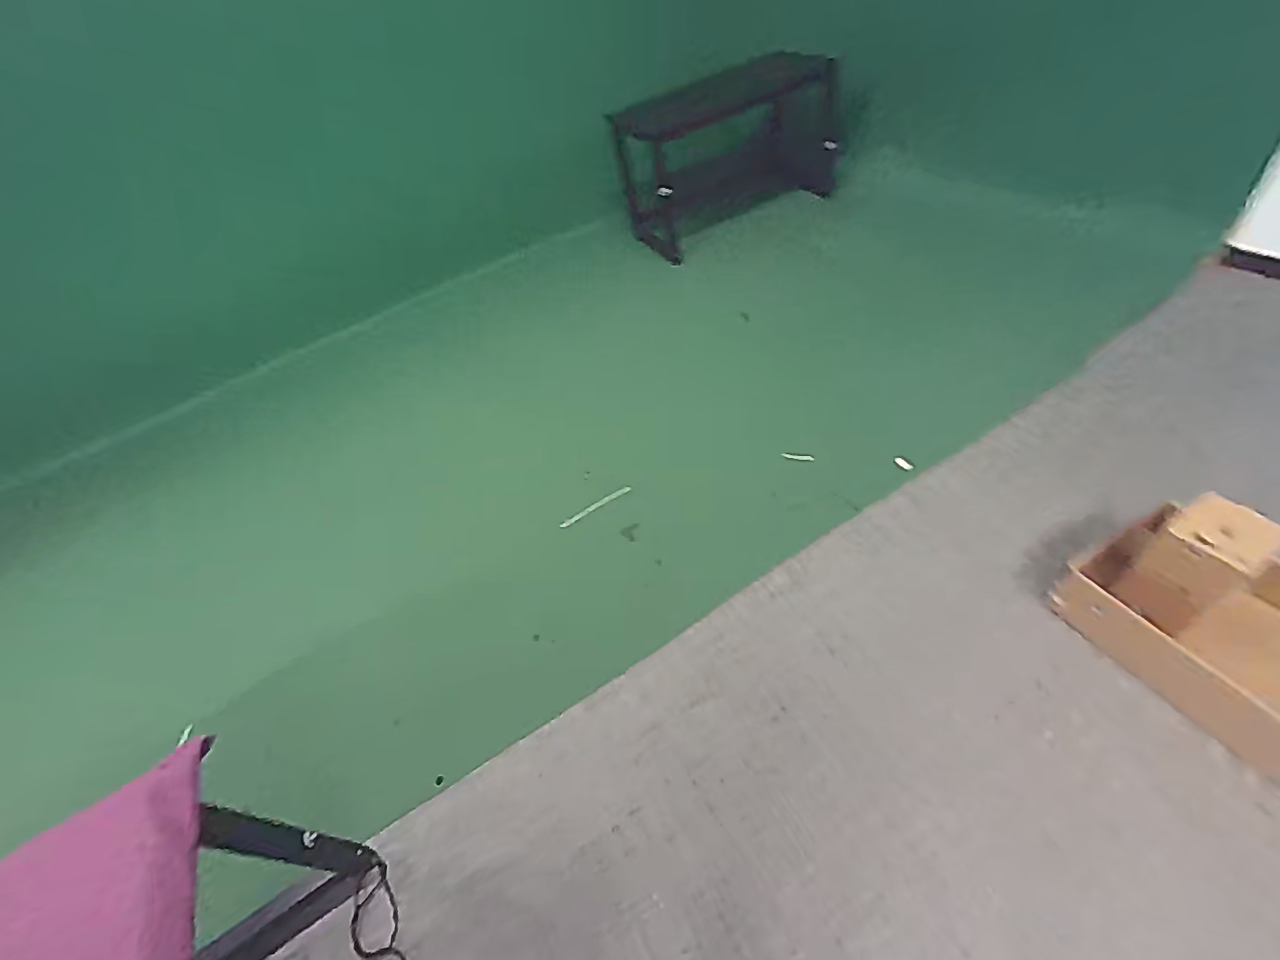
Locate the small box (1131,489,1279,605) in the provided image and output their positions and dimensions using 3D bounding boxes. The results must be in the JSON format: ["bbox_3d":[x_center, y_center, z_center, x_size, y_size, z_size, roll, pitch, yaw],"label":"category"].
[{"bbox_3d":[1.338,0.161,1.290,0.179,0.176,0.168,-31,49,-13],"label":"small box"}]
